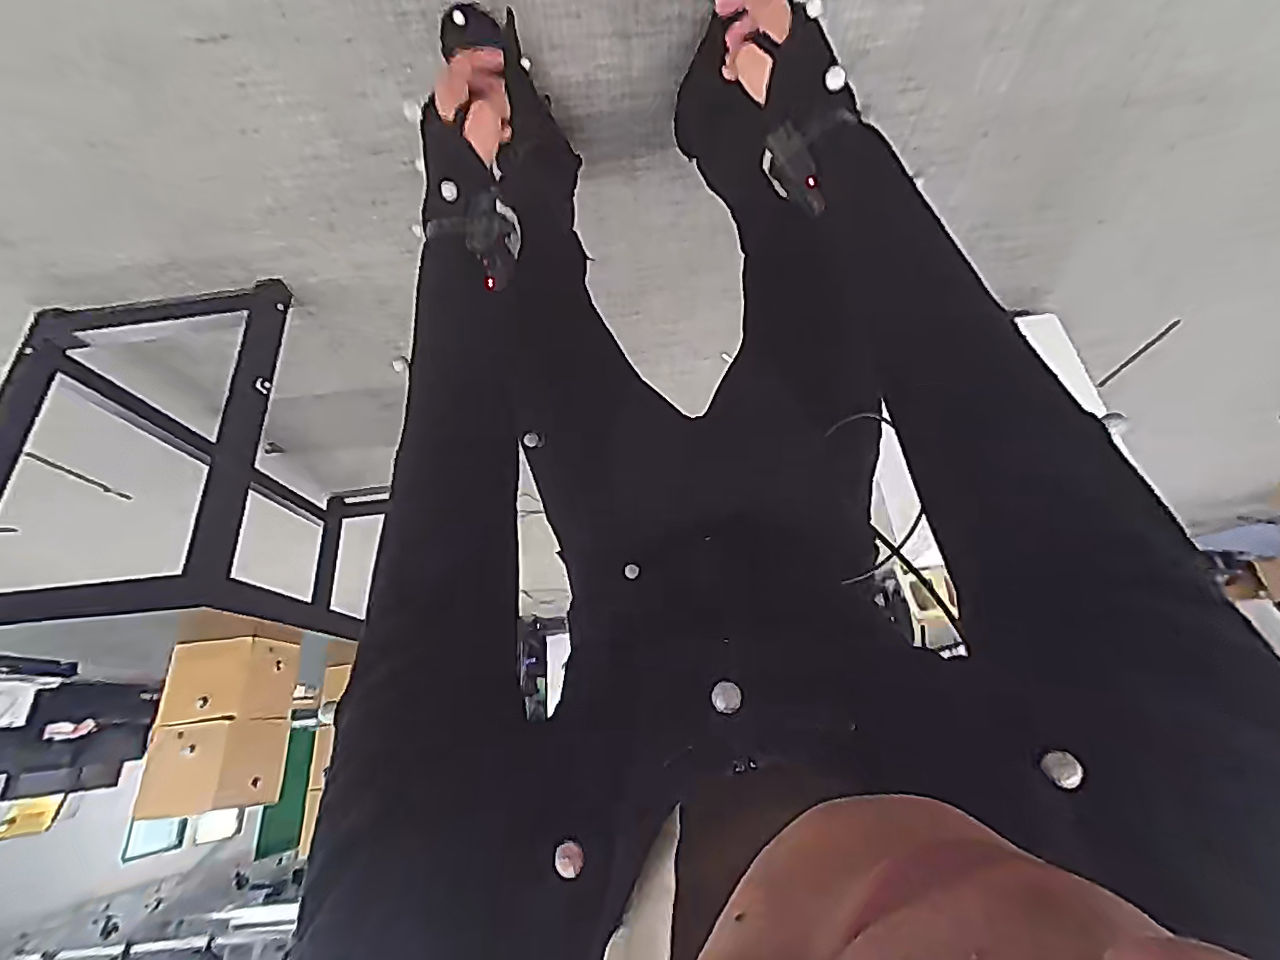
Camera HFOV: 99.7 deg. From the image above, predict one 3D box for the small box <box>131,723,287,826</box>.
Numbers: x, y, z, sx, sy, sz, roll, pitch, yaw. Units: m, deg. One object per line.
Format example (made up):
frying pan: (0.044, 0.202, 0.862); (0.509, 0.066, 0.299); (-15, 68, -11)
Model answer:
small box: (-0.874, 0.599, 1.119); (0.168, 0.176, 0.179); (-8, 155, 4)

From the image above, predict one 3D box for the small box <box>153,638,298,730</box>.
small box: (-0.895, 0.451, 1.188); (0.179, 0.176, 0.168); (-7, 155, 1)

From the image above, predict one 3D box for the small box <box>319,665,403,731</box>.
small box: (-0.855, 0.674, 1.675); (0.179, 0.176, 0.168); (-7, 155, 2)
